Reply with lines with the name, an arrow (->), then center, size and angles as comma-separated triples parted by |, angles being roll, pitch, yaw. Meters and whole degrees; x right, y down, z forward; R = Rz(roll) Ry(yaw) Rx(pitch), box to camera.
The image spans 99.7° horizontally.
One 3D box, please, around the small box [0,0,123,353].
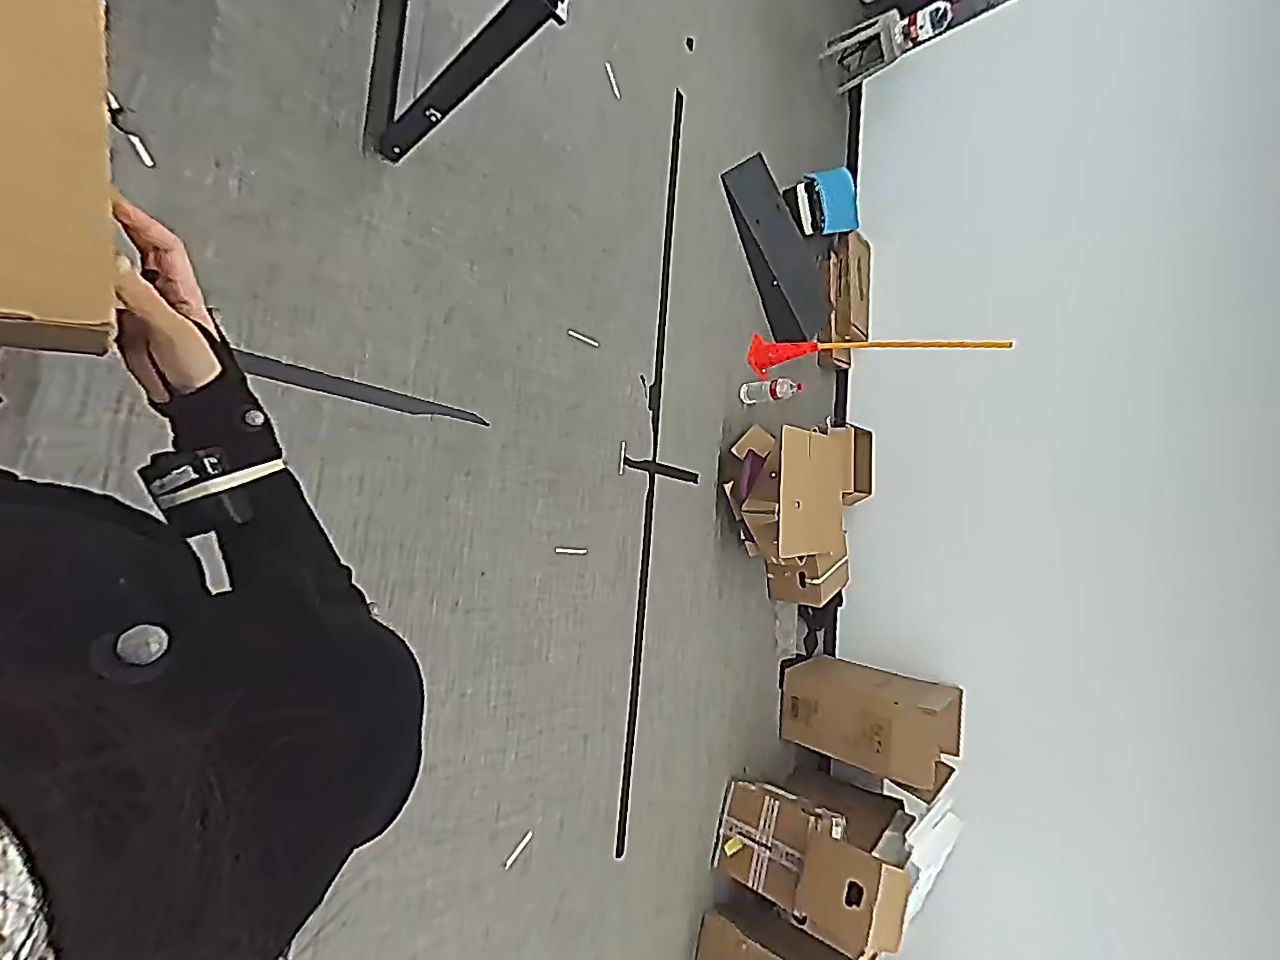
small box -> -0.399, -0.175, 0.291 | 0.168, 0.176, 0.179 | -2, 95, -46
